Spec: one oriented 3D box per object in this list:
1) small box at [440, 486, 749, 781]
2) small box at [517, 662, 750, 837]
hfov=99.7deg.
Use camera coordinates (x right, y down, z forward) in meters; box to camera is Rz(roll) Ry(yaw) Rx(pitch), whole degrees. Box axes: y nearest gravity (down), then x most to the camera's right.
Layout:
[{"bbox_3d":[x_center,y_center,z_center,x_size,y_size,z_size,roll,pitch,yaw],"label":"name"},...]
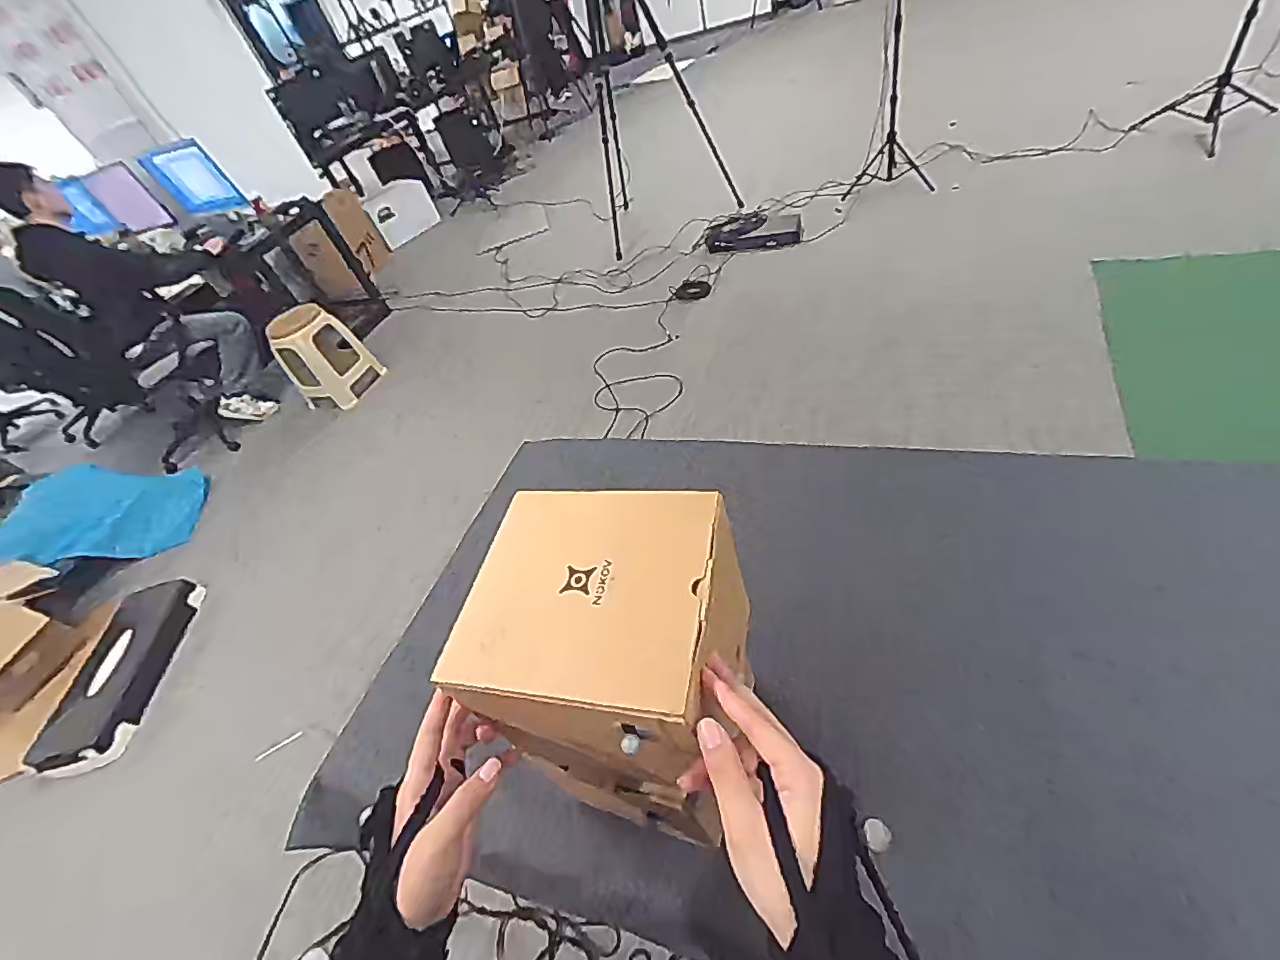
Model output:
[{"bbox_3d":[-0.015,0.121,0.434,0.179,0.176,0.168,0,48,18],"label":"small box"},{"bbox_3d":[0.011,0.231,0.551,0.168,0.176,0.179,6,49,24],"label":"small box"}]
